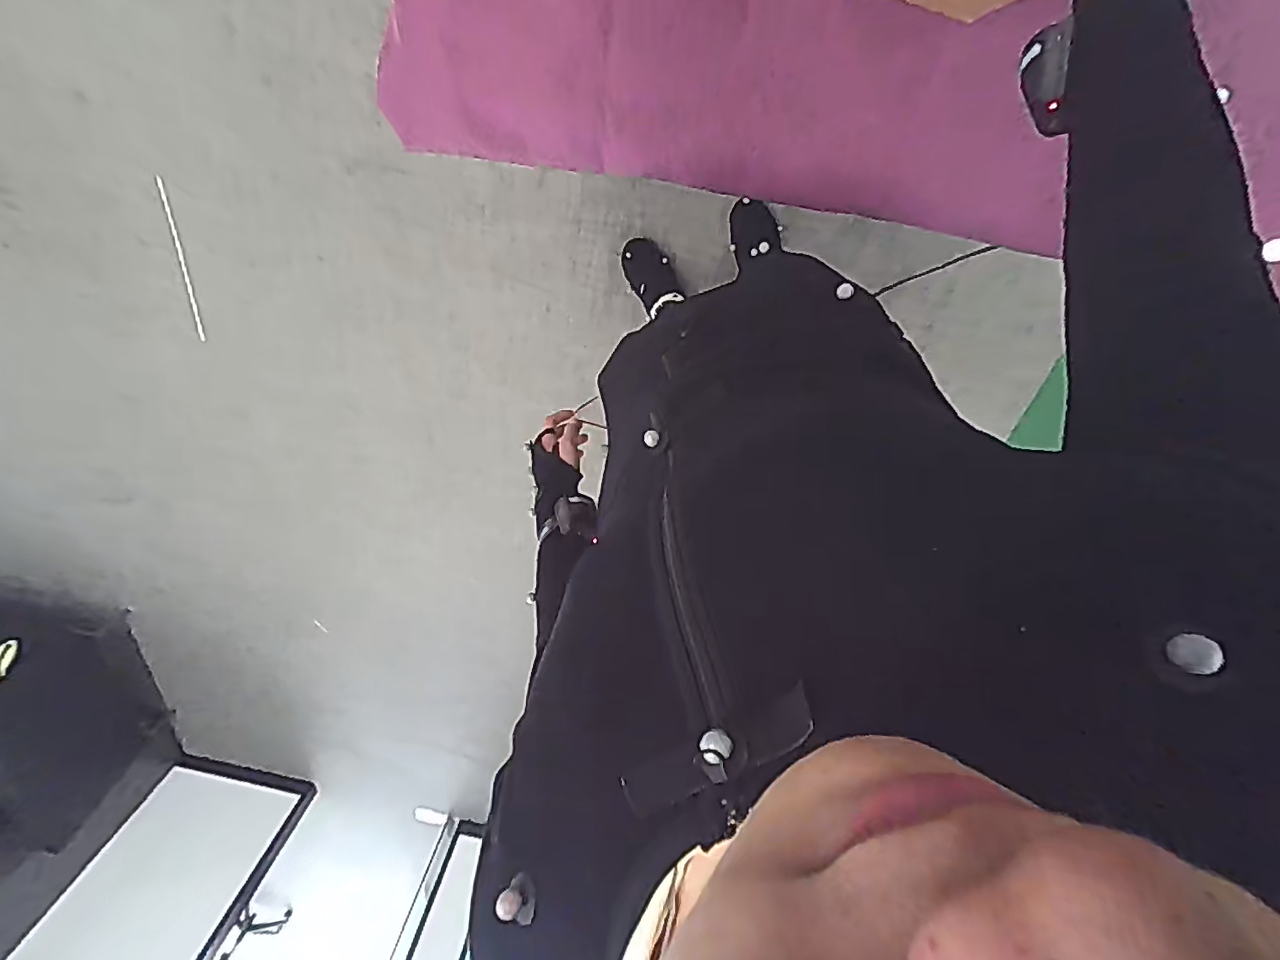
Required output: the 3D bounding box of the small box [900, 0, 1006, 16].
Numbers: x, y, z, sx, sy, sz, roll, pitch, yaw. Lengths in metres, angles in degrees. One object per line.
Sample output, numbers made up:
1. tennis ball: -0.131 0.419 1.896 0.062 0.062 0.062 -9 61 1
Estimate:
1. small box: 0.290 -0.546 0.475 0.179 0.176 0.168 18 122 -1
